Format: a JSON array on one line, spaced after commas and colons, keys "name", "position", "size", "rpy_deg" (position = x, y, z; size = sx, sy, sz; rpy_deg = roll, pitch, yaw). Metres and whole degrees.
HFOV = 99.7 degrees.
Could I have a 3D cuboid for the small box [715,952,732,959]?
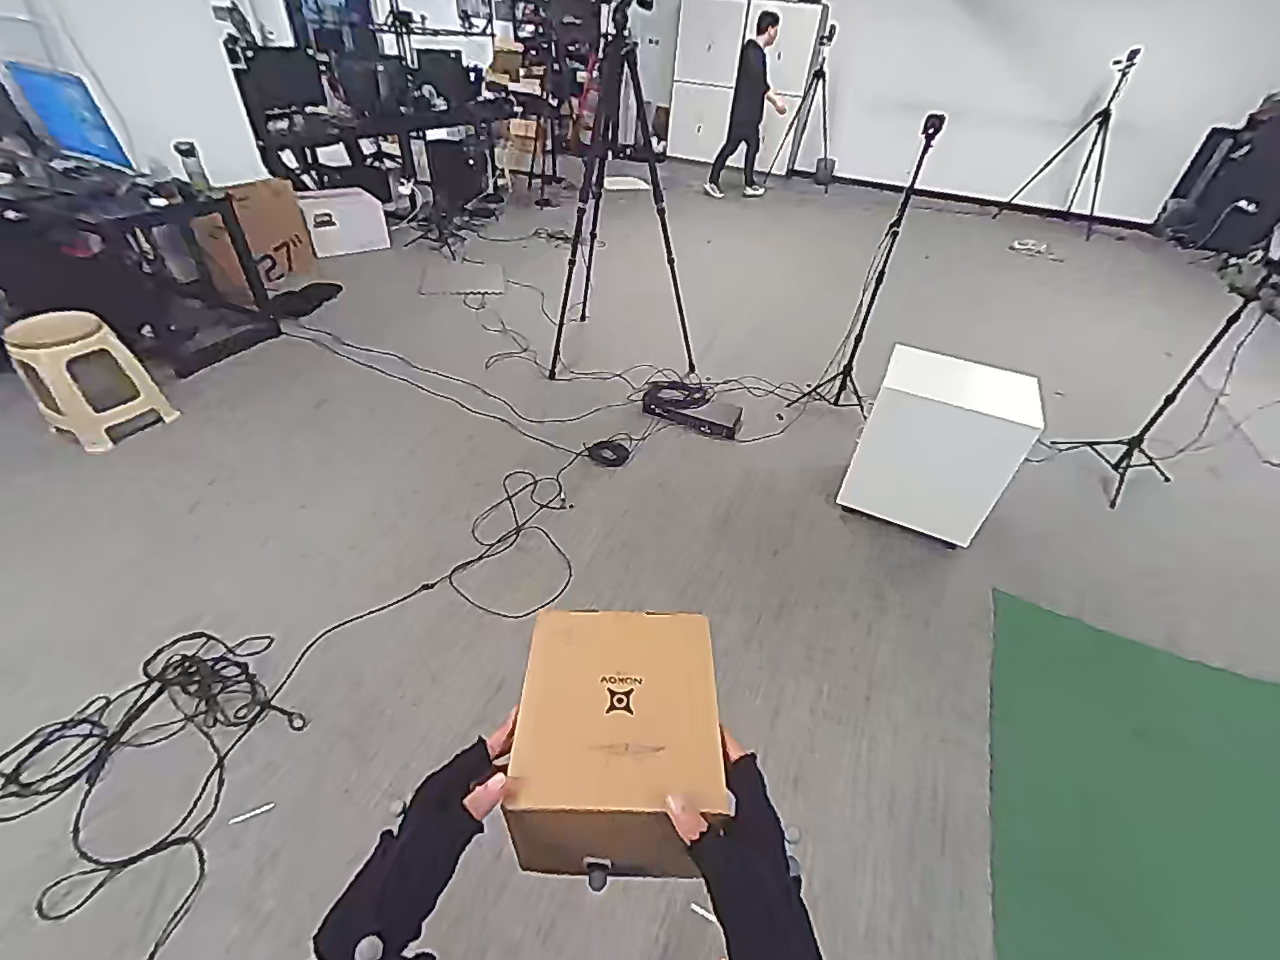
[{"name": "small box", "position": [0.168, 1.039, 1.002], "size": [0.168, 0.176, 0.179], "rpy_deg": [24, 44, 20]}]
